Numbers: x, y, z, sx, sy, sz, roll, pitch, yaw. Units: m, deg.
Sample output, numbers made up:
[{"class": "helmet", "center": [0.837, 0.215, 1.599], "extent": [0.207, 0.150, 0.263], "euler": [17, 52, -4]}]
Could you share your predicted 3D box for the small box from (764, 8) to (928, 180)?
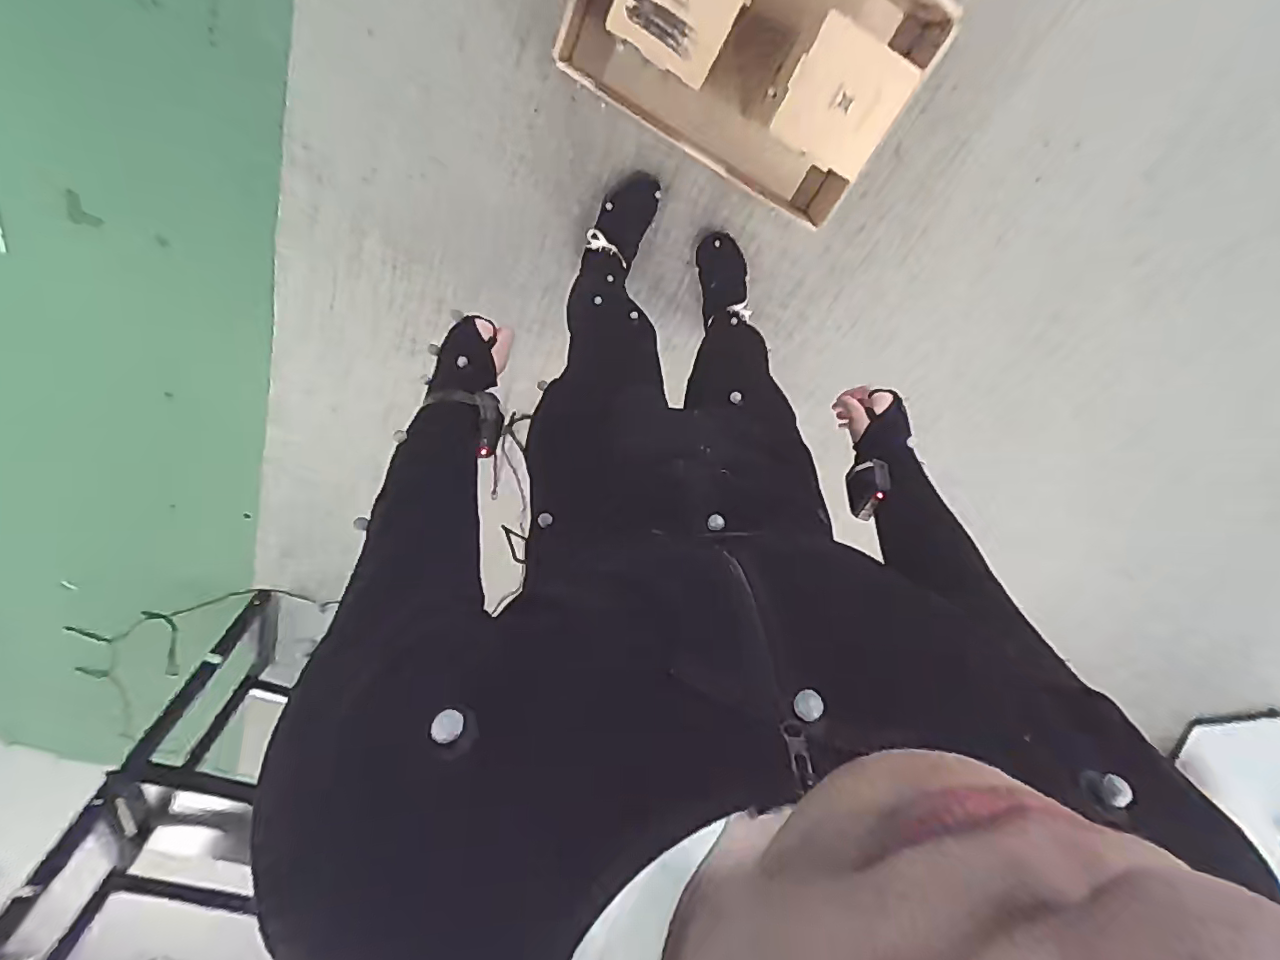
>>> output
[{"class": "small box", "center": [0.328, -0.636, 0.902], "extent": [0.179, 0.176, 0.168], "euler": [23, 126, -13]}]
